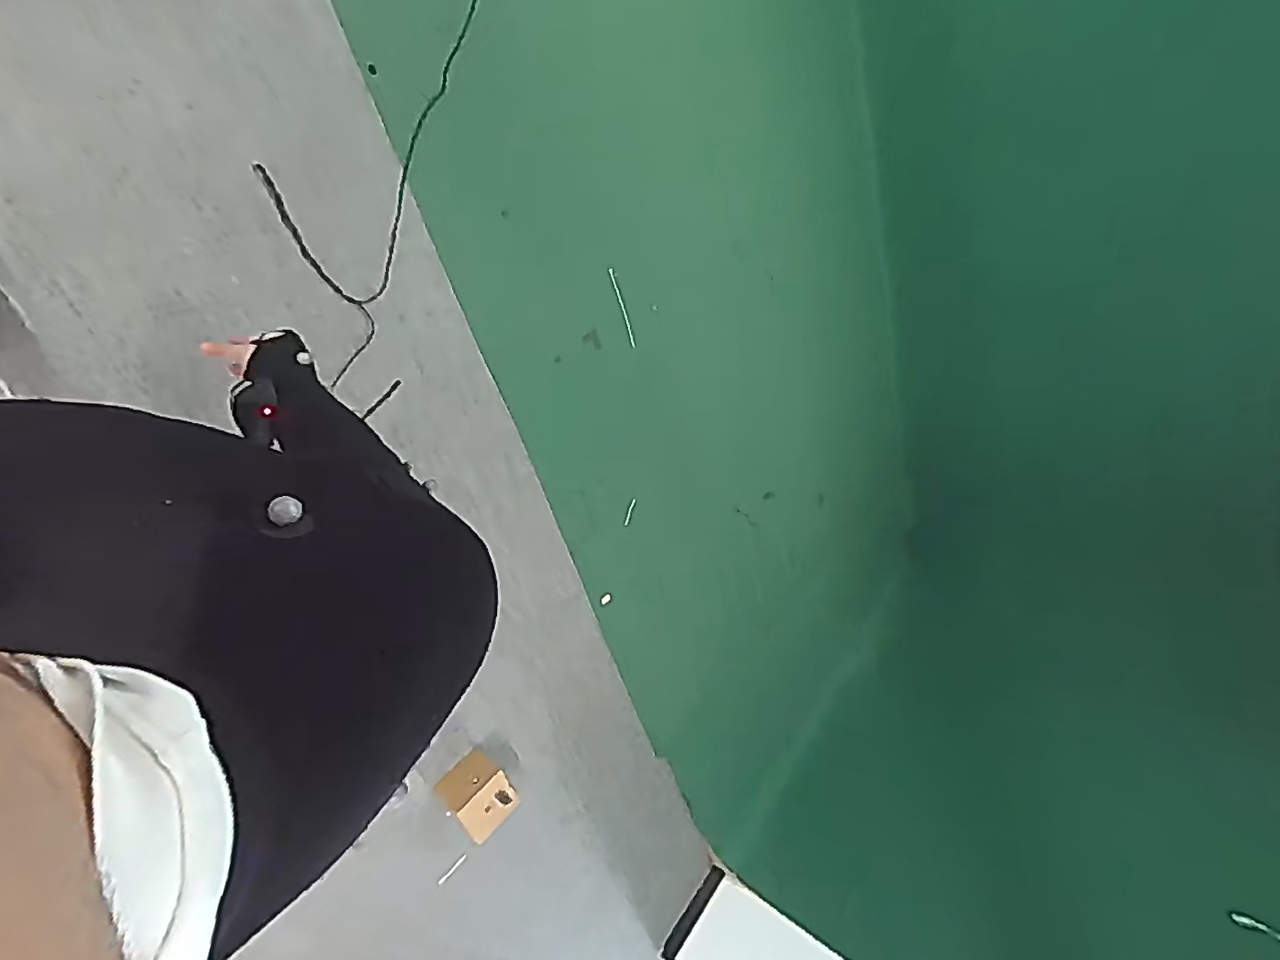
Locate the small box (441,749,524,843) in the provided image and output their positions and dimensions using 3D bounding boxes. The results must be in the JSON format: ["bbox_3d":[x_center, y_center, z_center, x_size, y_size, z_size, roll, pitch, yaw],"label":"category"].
[{"bbox_3d":[-0.522,1.036,1.789,0.179,0.176,0.168,-37,119,-34],"label":"small box"}]
